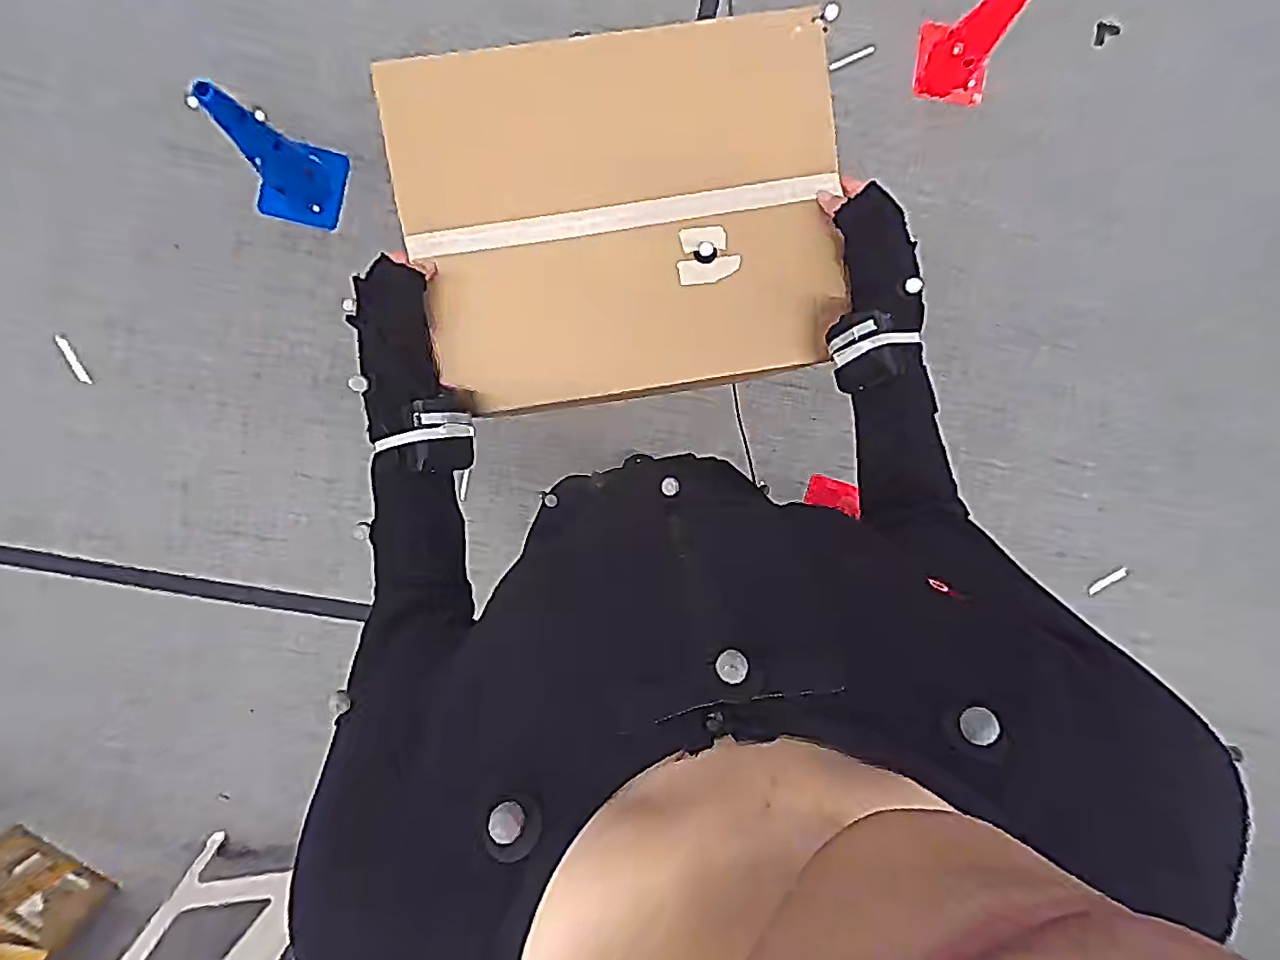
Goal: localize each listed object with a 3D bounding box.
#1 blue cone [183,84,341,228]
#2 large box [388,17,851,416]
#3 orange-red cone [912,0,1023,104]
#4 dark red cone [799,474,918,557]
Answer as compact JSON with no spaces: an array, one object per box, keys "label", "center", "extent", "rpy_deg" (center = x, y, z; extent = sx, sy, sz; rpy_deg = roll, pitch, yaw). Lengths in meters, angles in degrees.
[{"label":"blue cone","center":[-0.867,-0.752,1.231],"extent":[0.192,0.380,0.193],"rpy_deg":[14,91,-4]},{"label":"large box","center":[-0.020,-0.262,0.655],"extent":[0.408,0.320,0.320],"rpy_deg":[-9,97,-3]},{"label":"orange-red cone","center":[0.873,-1.156,1.331],"extent":[0.198,0.360,0.199],"rpy_deg":[8,90,-6]},{"label":"dark red cone","center":[0.562,0.107,1.331],"extent":[0.201,0.394,0.202],"rpy_deg":[17,91,-4]}]
